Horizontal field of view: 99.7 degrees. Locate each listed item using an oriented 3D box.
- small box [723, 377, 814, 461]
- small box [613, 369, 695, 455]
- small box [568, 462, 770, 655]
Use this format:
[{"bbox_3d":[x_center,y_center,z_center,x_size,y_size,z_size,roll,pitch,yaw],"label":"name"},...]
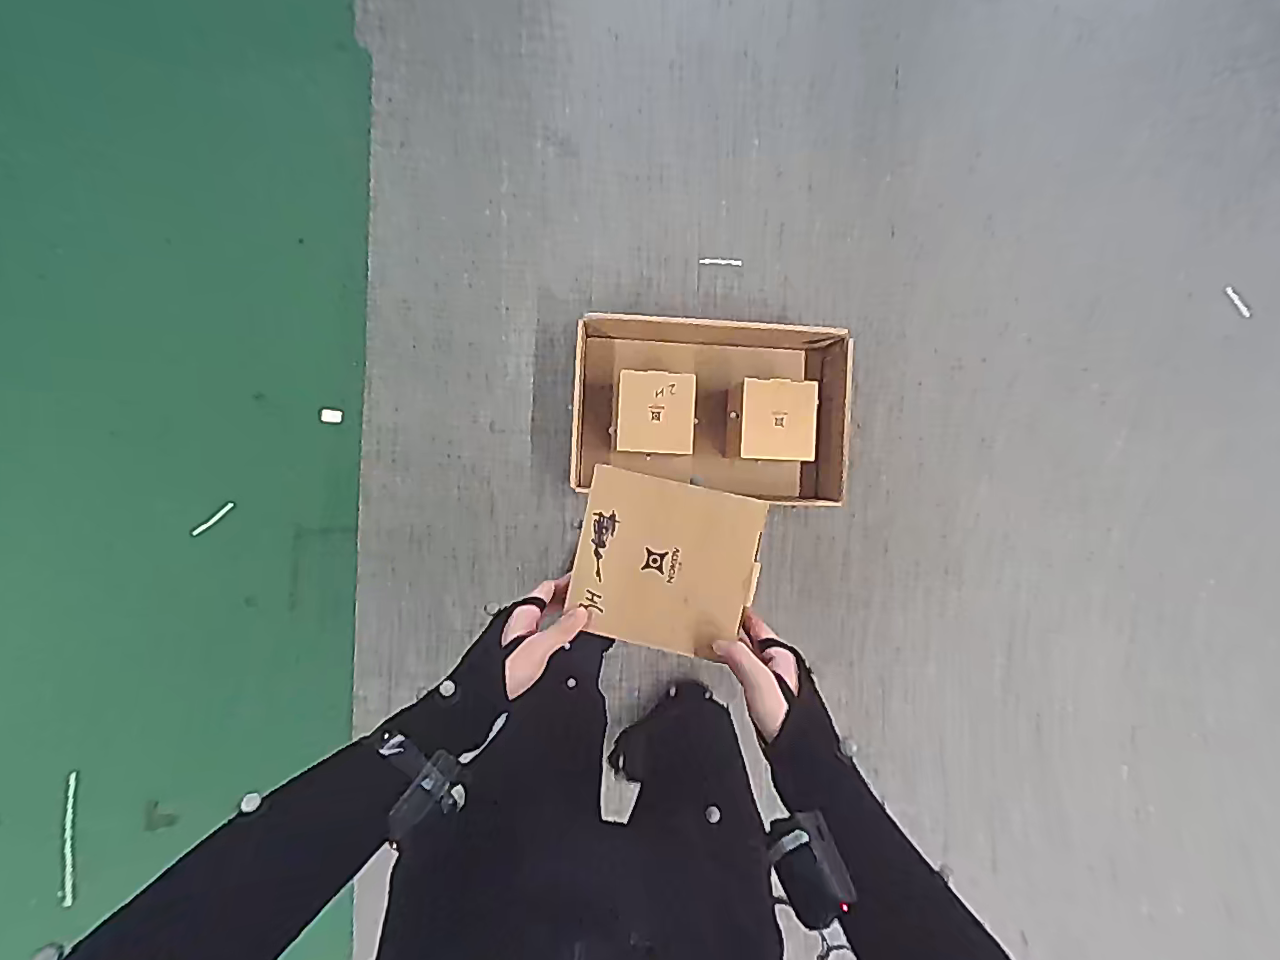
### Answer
[{"bbox_3d":[0.293,-0.136,1.264,0.168,0.176,0.179,2,90,-3],"label":"small box"},{"bbox_3d":[0.026,-0.148,1.242,0.168,0.176,0.179,3,90,-5],"label":"small box"},{"bbox_3d":[0.032,0.080,0.621,0.179,0.176,0.168,13,88,3],"label":"small box"}]
